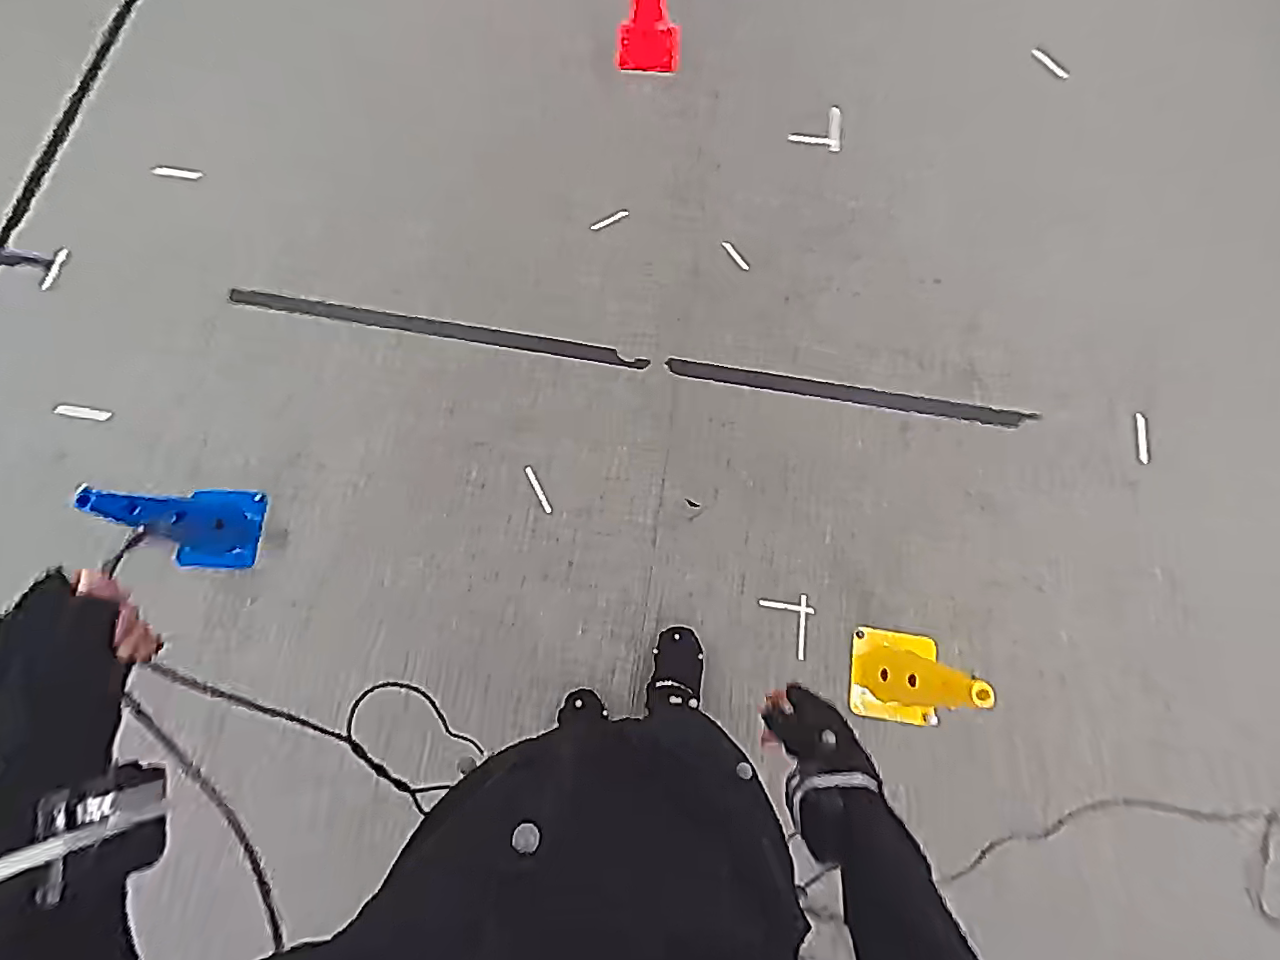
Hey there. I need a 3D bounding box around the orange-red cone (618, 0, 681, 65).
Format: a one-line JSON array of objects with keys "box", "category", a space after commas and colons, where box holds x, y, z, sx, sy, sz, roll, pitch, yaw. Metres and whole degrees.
[{"box": [0.028, -1.501, 1.632, 0.199, 0.360, 0.198, 5, 75, 3], "category": "orange-red cone"}]

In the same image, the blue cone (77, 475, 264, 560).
[{"box": [-1.075, 0.065, 1.228, 0.193, 0.380, 0.192, 4, 75, 2], "category": "blue cone"}]
